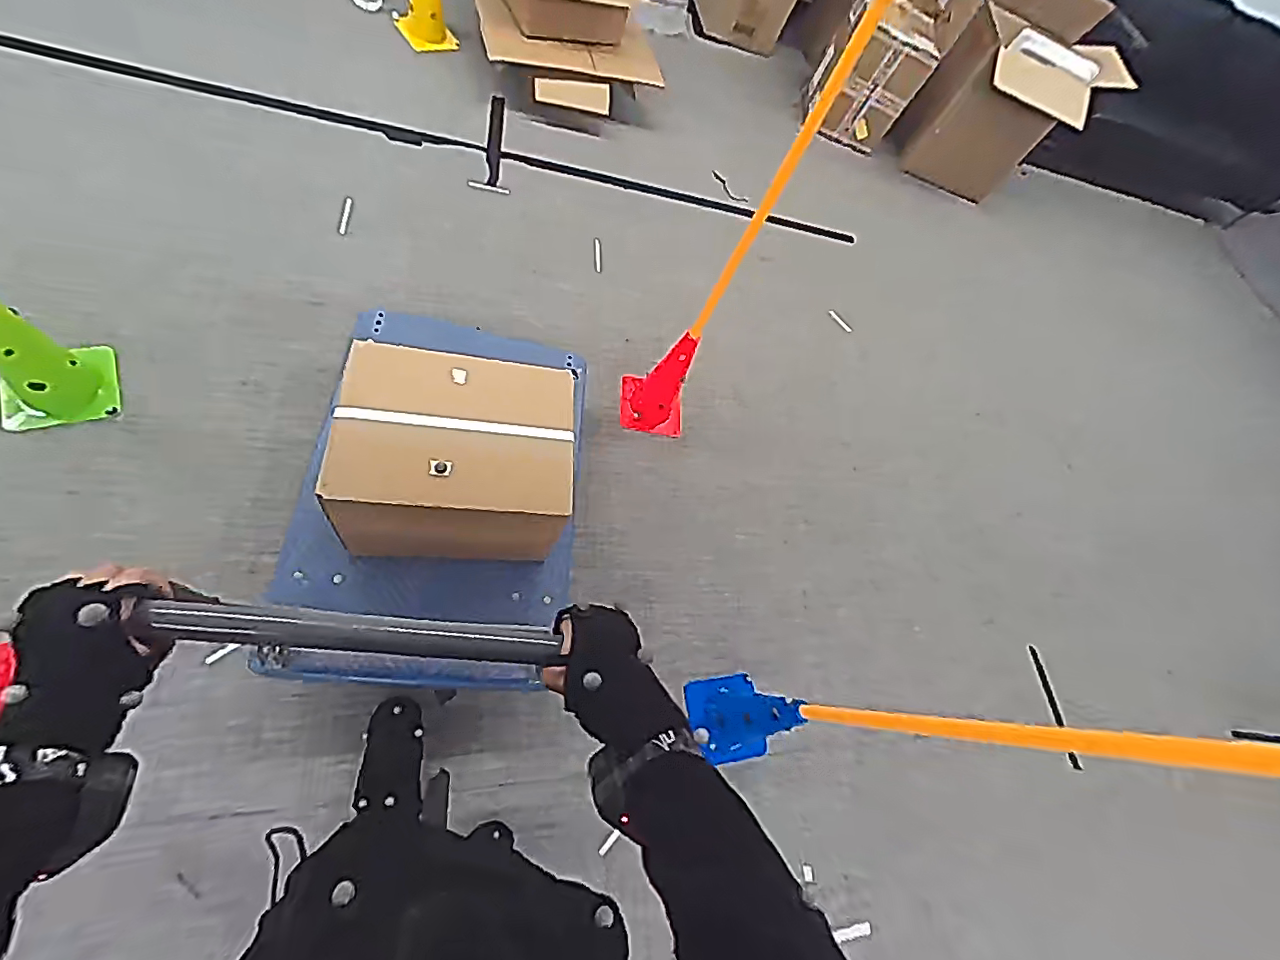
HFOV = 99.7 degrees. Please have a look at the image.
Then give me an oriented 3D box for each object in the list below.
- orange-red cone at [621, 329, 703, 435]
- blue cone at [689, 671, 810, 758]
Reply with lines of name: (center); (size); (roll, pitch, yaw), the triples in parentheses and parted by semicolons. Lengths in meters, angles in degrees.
orange-red cone: (0.095, -0.310, 1.558); (0.199, 0.360, 0.198); (11, 63, -16)
blue cone: (0.274, 0.524, 1.236); (0.193, 0.380, 0.192); (0, 64, -20)
